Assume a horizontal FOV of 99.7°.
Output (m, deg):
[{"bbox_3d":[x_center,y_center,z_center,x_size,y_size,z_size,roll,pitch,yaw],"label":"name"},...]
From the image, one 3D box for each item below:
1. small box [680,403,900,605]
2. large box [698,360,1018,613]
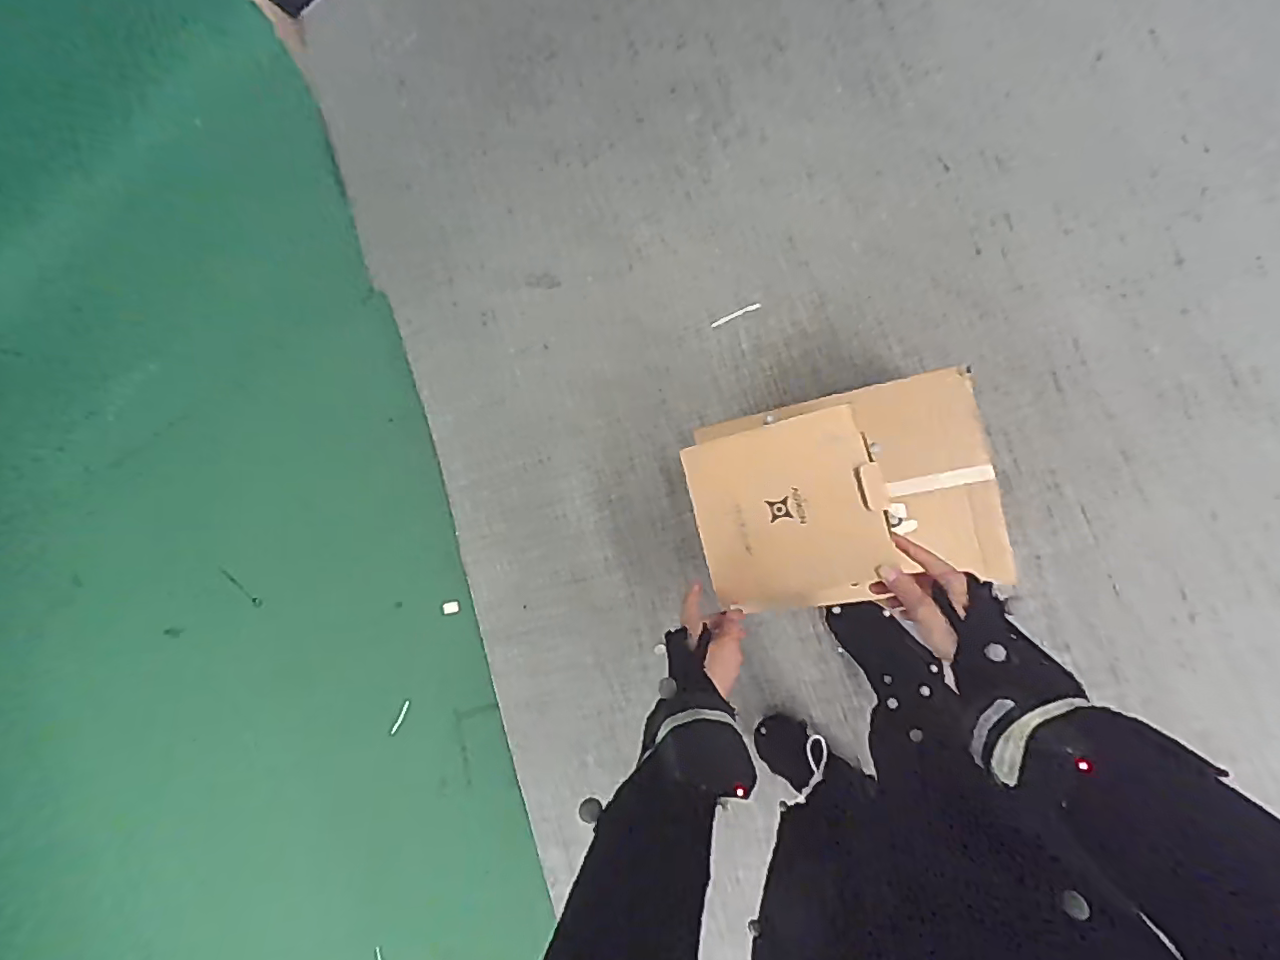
[{"bbox_3d":[0.165,0.026,0.593,0.179,0.176,0.168,-16,84,21],"label":"small box"},{"bbox_3d":[0.357,0.023,0.955,0.408,0.320,0.320,-13,87,20],"label":"large box"}]
